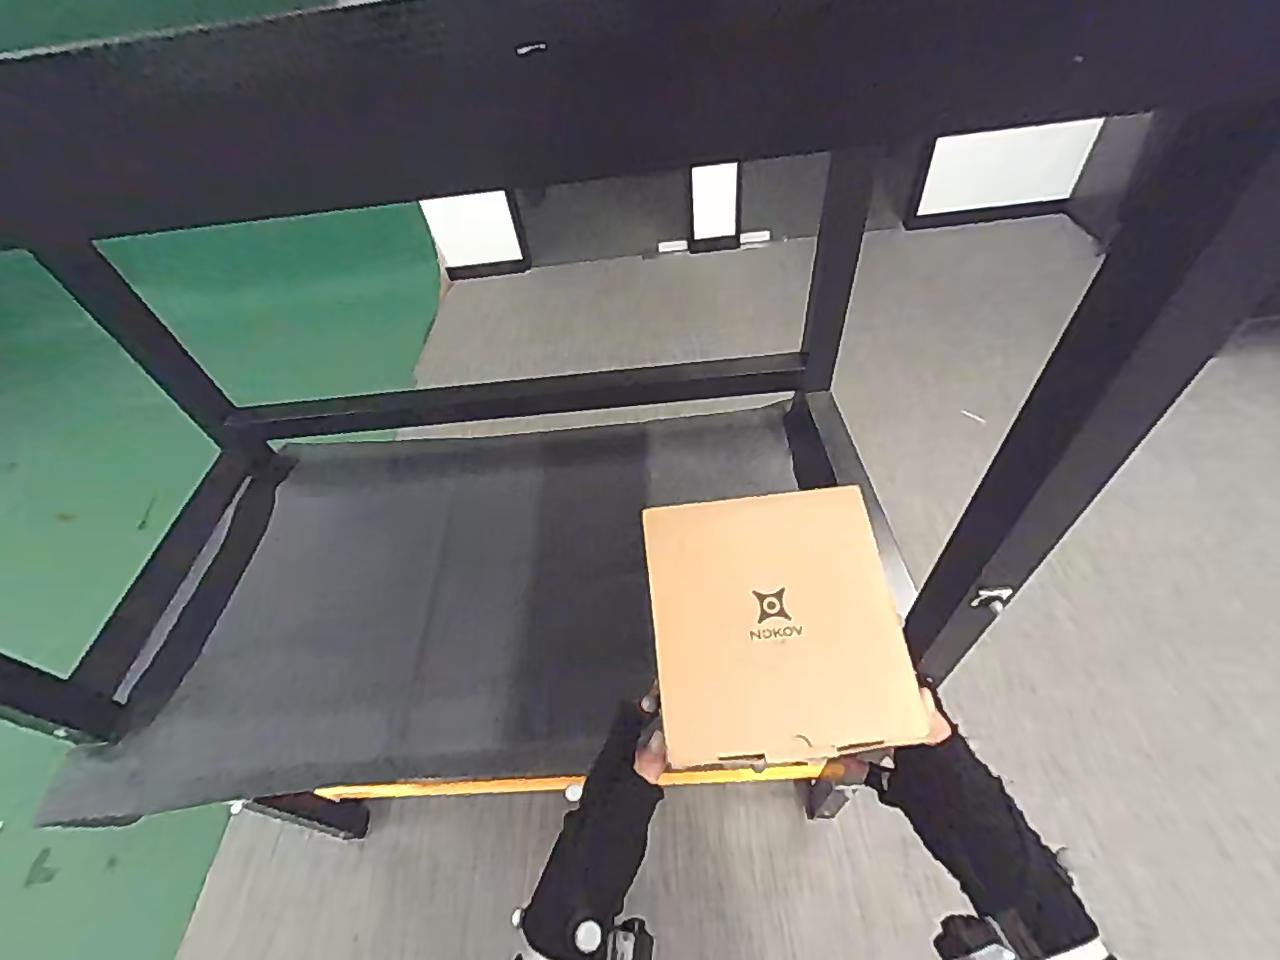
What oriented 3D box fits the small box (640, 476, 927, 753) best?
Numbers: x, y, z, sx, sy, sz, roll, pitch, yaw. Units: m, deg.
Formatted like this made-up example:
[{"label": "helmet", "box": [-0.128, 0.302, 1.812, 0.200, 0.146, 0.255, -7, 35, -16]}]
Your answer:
[{"label": "small box", "box": [0.091, 0.117, 0.437, 0.168, 0.176, 0.179, -7, 64, 1]}]
